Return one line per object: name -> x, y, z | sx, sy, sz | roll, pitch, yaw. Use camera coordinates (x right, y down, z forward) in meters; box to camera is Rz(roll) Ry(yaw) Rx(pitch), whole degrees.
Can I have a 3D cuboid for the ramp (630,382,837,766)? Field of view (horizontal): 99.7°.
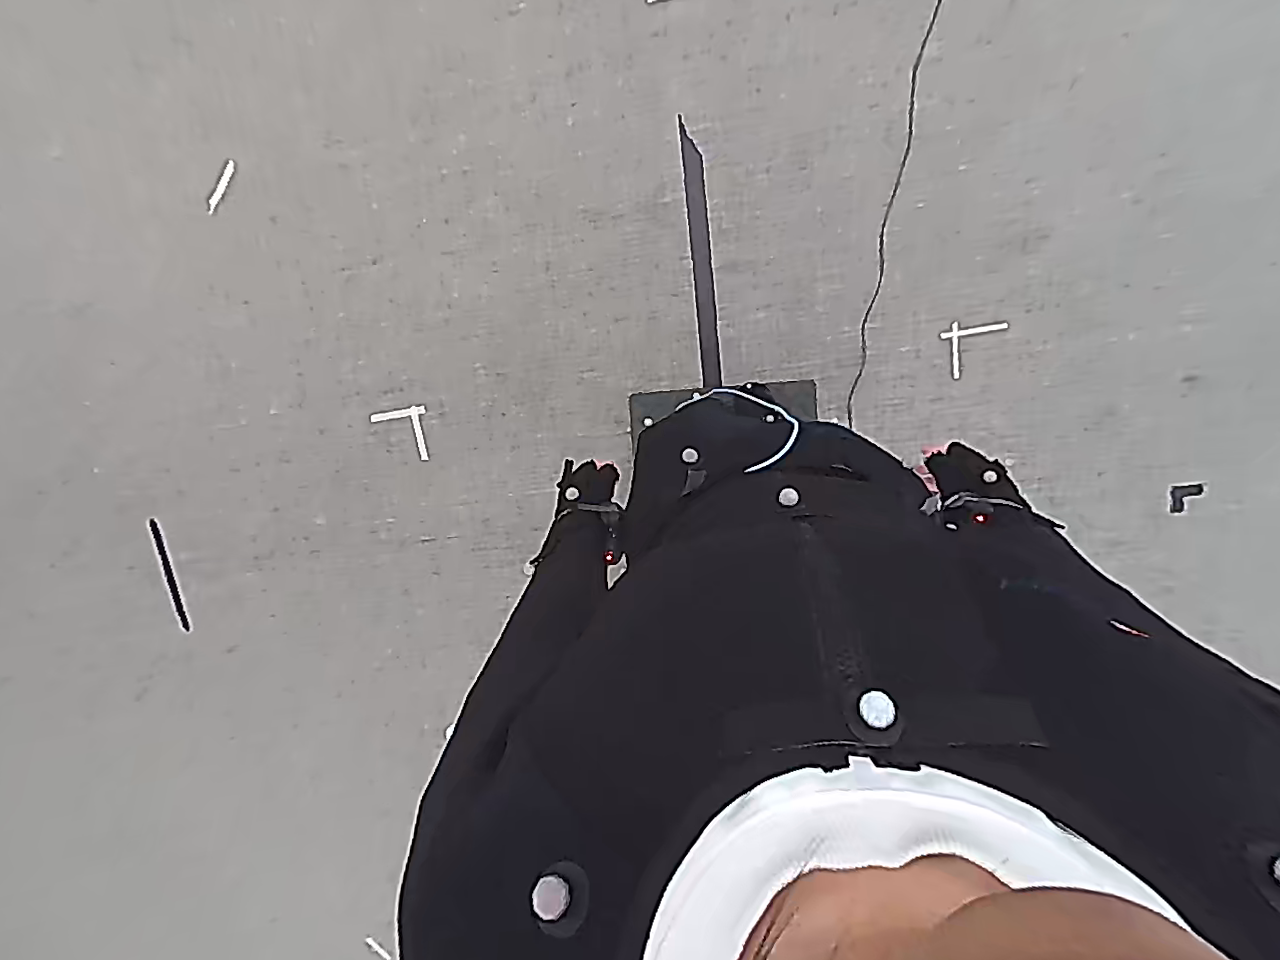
ramp -> 0.240, 0.257, 1.441 | 0.509, 0.206, 0.991 | -5, 100, 10
